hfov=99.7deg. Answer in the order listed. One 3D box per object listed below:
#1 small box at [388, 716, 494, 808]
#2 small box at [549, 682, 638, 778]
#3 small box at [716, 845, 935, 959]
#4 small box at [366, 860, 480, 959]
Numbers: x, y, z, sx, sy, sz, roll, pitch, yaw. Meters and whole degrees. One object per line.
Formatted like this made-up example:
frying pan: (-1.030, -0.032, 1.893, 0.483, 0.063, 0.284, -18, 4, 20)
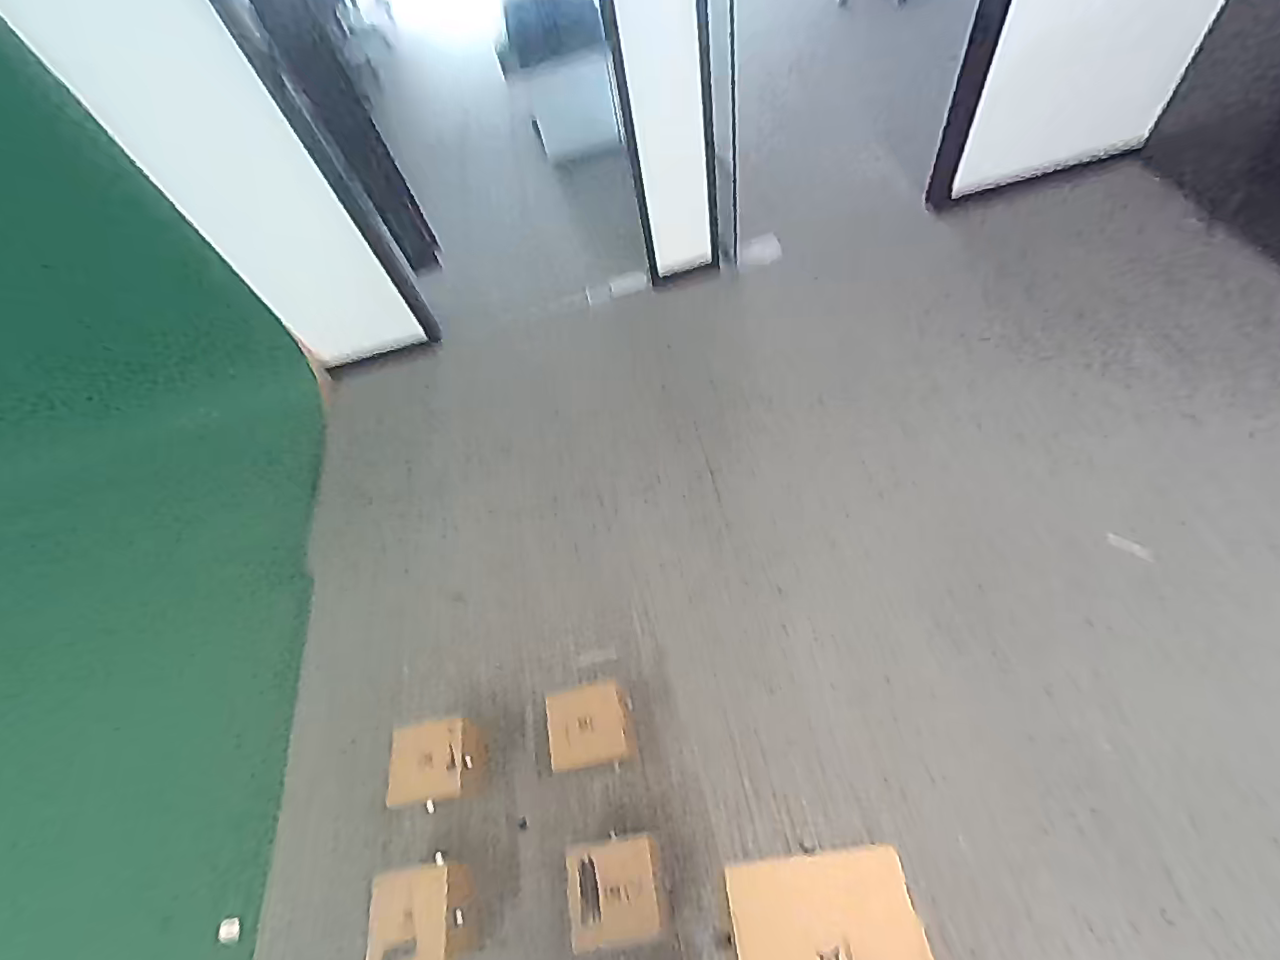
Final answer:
small box: (-0.473, 0.685, 1.306, 0.179, 0.176, 0.168, -12, 55, 4)
small box: (-0.105, 0.600, 1.290, 0.179, 0.176, 0.168, -14, 54, 3)
small box: (0.174, 0.474, 0.533, 0.179, 0.176, 0.168, -5, 52, -3)
small box: (-0.448, 0.923, 1.142, 0.168, 0.176, 0.179, -12, 55, 3)
